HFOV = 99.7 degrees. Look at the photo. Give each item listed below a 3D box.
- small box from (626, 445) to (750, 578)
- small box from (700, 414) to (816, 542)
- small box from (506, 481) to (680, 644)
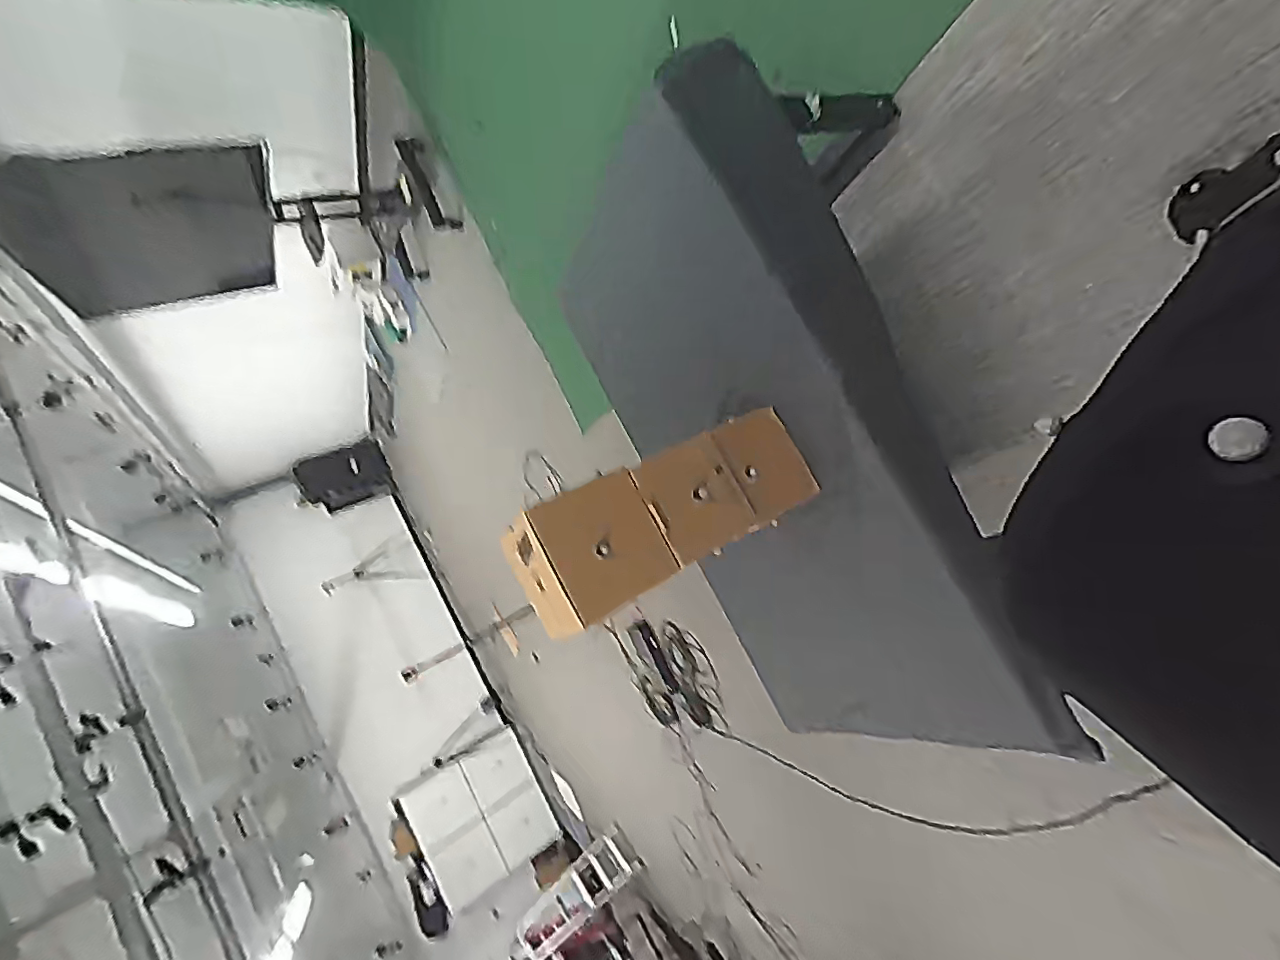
[{"bbox_3d":[0.057,0.063,0.891,0.168,0.176,0.179,60,148,7],"label":"small box"},{"bbox_3d":[0.182,0.007,0.979,0.179,0.176,0.168,62,149,8],"label":"small box"},{"bbox_3d":[-0.073,0.116,0.804,0.179,0.176,0.168,61,149,10],"label":"small box"}]
